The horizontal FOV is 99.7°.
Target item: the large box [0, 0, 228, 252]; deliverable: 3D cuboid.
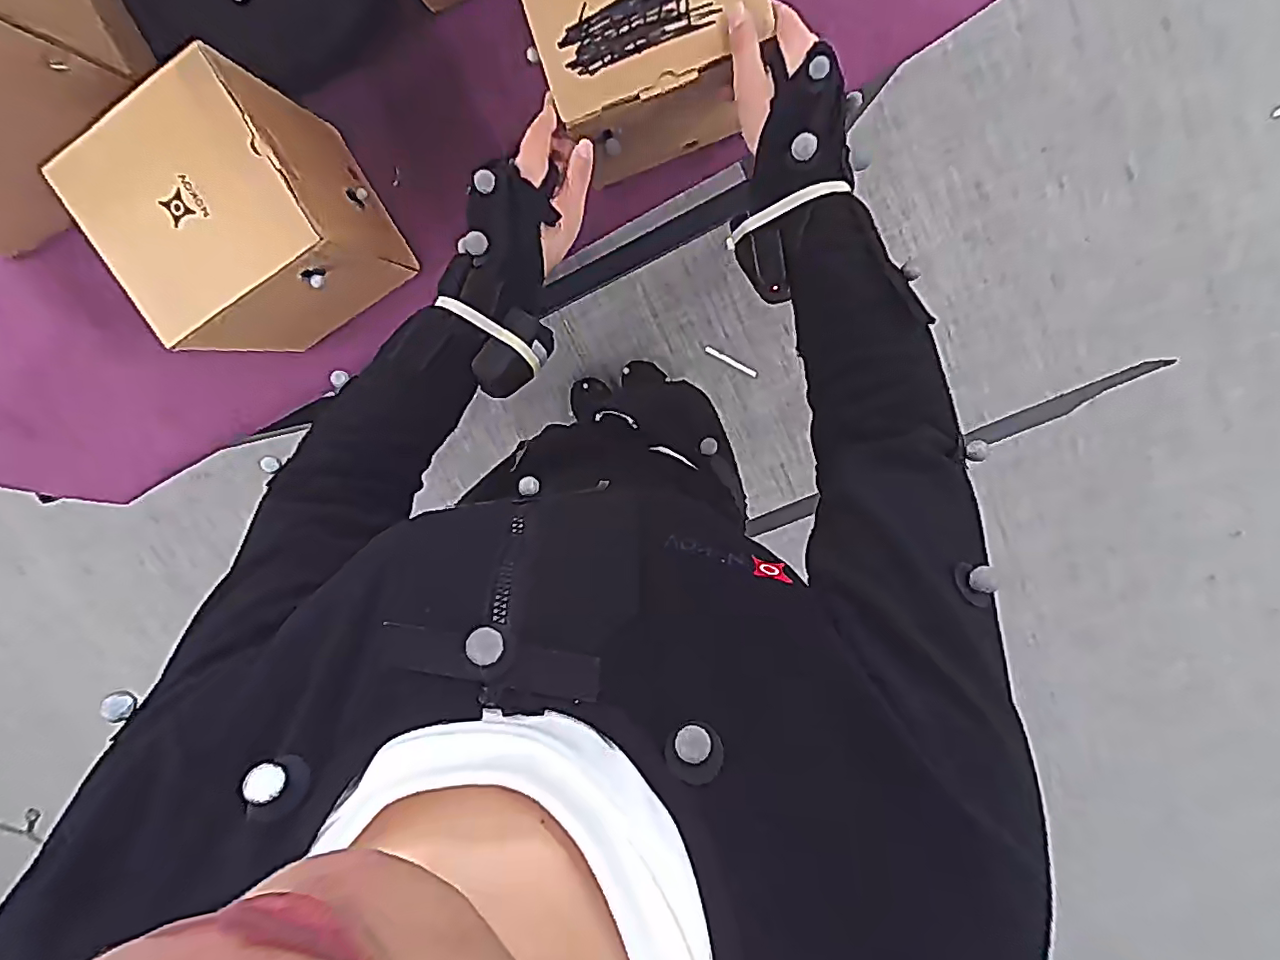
[{"bbox_3d":[-0.662,-0.452,0.414,0.320,0.320,0.408,-25,104,10],"label":"large box"}]
